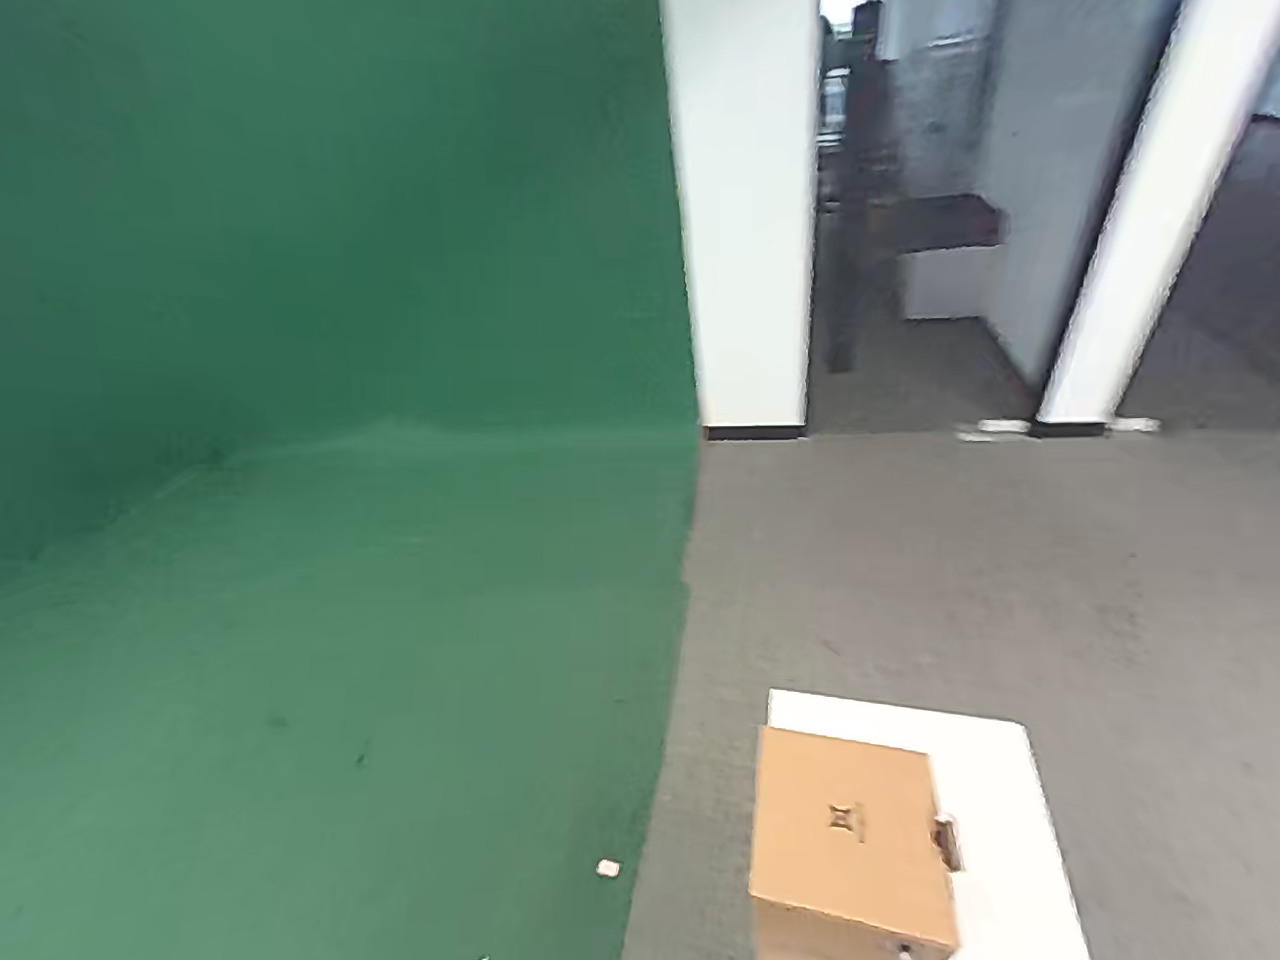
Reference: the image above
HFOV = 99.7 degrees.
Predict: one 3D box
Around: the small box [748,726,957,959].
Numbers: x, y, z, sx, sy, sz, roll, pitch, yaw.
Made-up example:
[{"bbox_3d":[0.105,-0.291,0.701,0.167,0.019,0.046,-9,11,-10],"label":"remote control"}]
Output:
[{"bbox_3d":[0.212,0.397,0.579,0.179,0.176,0.168,4,39,15],"label":"small box"}]
